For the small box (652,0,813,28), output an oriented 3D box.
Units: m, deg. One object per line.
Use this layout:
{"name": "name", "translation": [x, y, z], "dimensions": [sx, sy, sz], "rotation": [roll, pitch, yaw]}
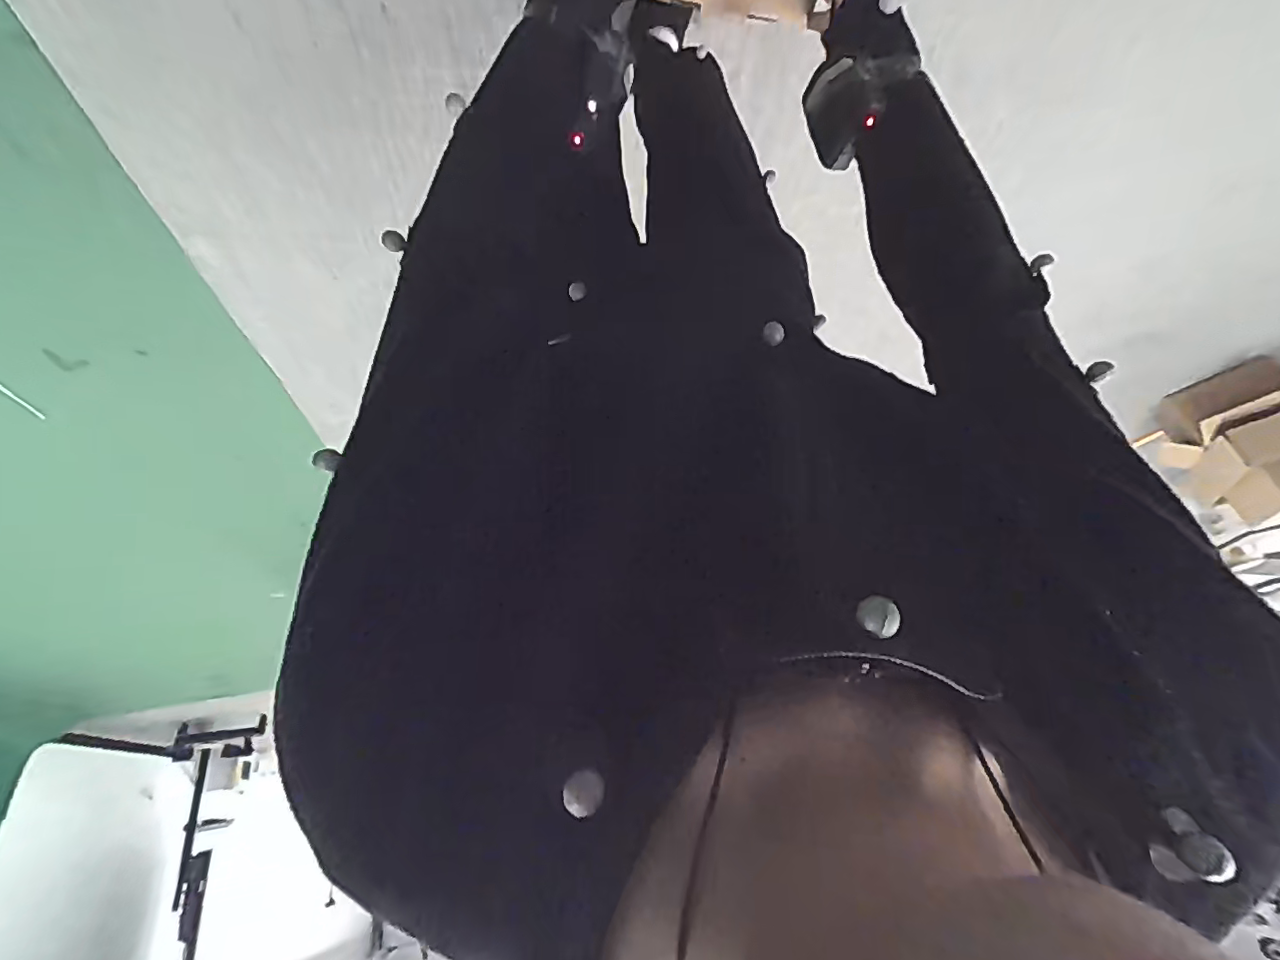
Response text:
{"name": "small box", "translation": [0.078, -0.538, 0.479], "dimensions": [0.168, 0.176, 0.179], "rotation": [1, 136, -12]}
